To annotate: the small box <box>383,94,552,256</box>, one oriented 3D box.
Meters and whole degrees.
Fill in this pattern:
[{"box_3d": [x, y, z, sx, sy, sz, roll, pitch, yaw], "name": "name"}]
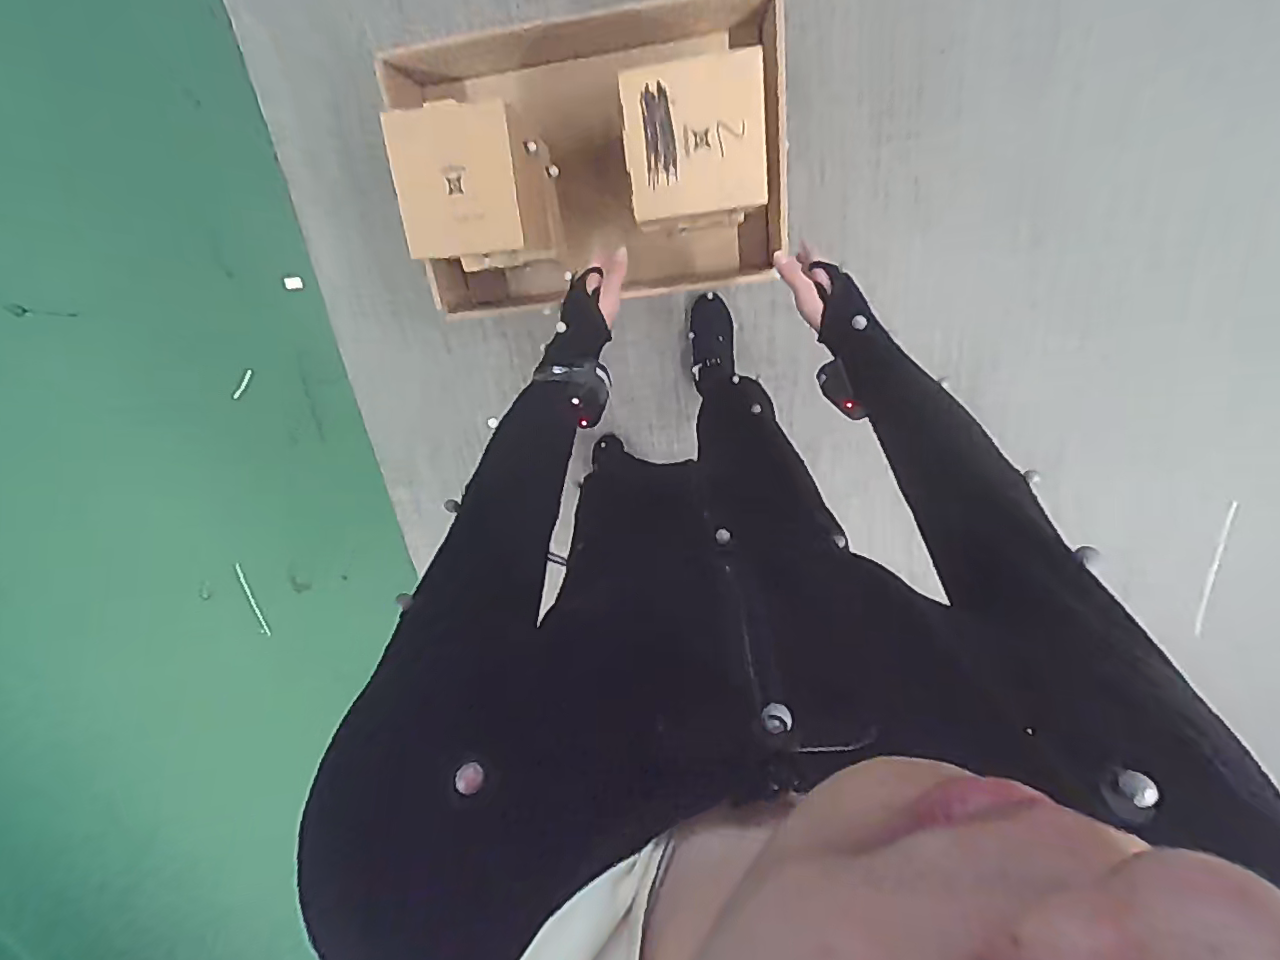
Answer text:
[{"box_3d": [-0.232, -0.423, 0.777, 0.168, 0.176, 0.179, -2, 112, 7], "name": "small box"}]
